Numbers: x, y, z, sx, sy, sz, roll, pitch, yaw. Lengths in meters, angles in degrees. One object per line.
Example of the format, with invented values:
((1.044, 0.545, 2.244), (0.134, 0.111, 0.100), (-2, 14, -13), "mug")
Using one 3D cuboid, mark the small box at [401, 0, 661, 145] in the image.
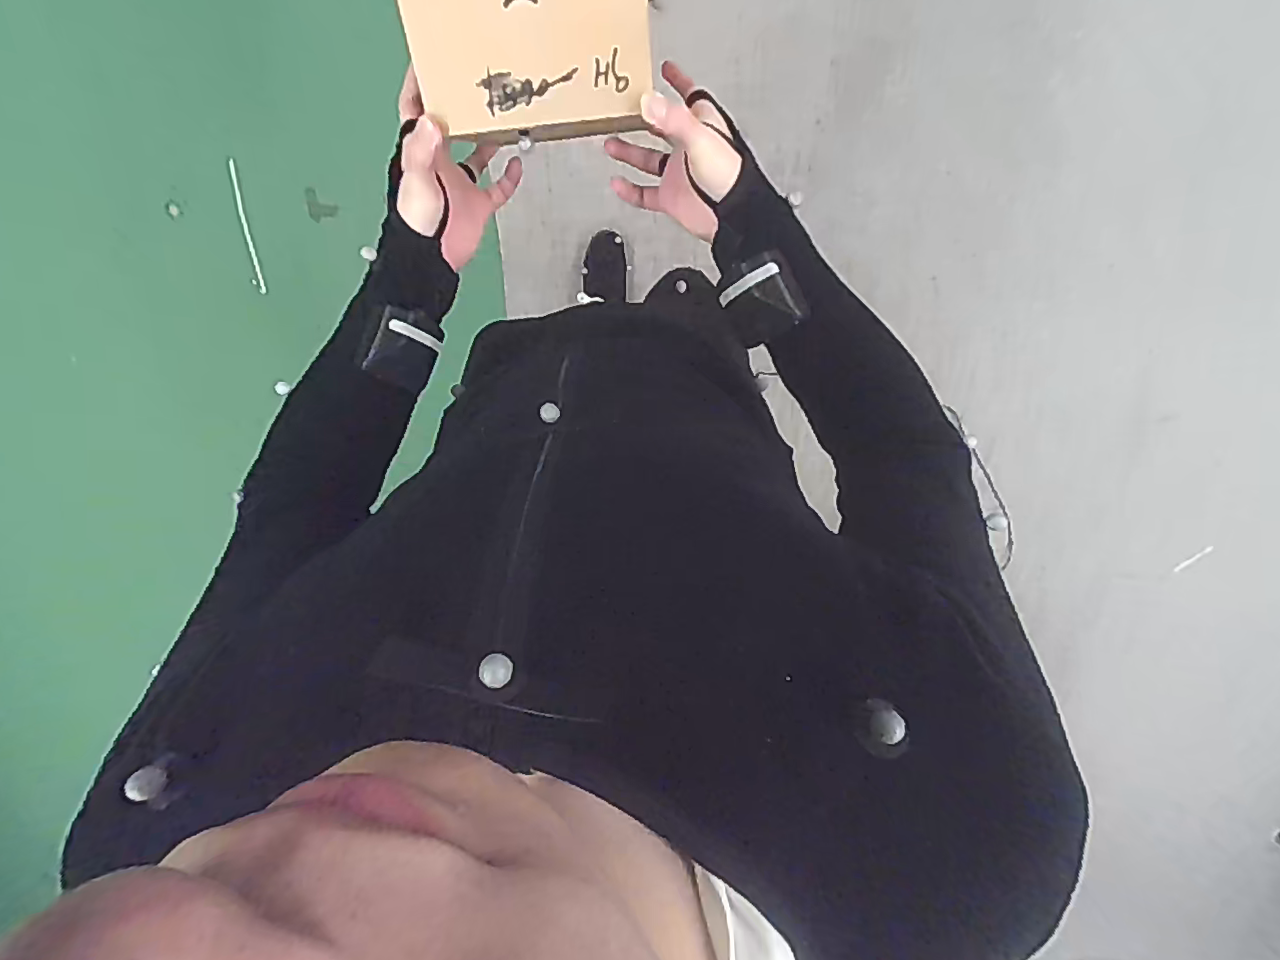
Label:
((-0.071, -0.364, 0.405), (0.168, 0.176, 0.179), (-2, 119, 4), "small box")
